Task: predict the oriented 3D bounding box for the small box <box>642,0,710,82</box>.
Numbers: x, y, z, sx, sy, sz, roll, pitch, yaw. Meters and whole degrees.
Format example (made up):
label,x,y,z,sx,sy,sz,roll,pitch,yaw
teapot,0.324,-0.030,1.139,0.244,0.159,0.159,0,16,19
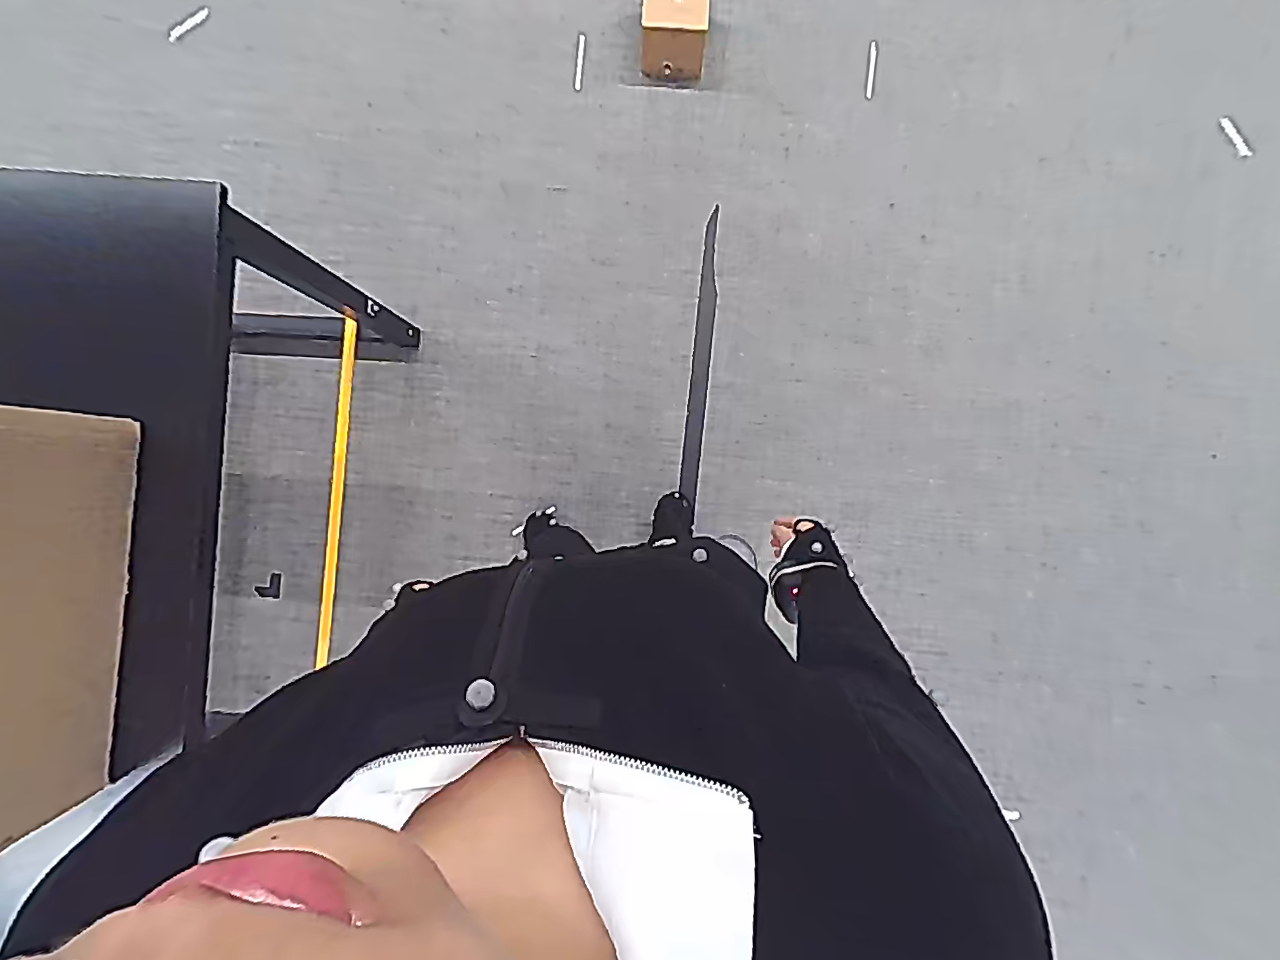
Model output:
label,x,y,z,sx,sy,sz,roll,pitch,yaw
small box,0.091,-1.186,1.405,0.168,0.176,0.179,4,91,1
